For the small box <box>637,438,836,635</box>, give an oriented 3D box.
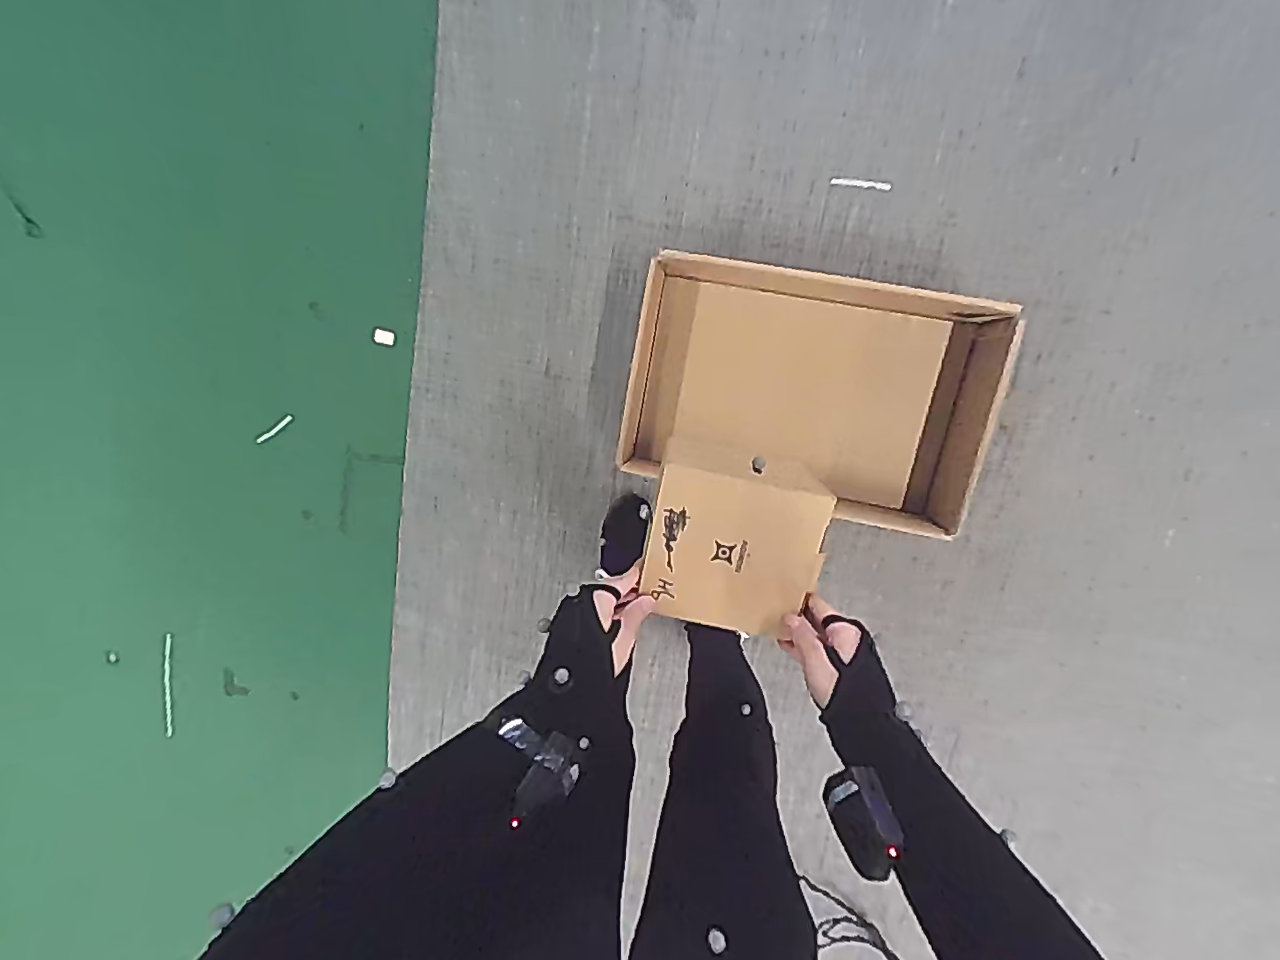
[{"bbox_3d":[0.100,0.054,0.633,0.179,0.176,0.168,11,103,1],"label":"small box"}]
